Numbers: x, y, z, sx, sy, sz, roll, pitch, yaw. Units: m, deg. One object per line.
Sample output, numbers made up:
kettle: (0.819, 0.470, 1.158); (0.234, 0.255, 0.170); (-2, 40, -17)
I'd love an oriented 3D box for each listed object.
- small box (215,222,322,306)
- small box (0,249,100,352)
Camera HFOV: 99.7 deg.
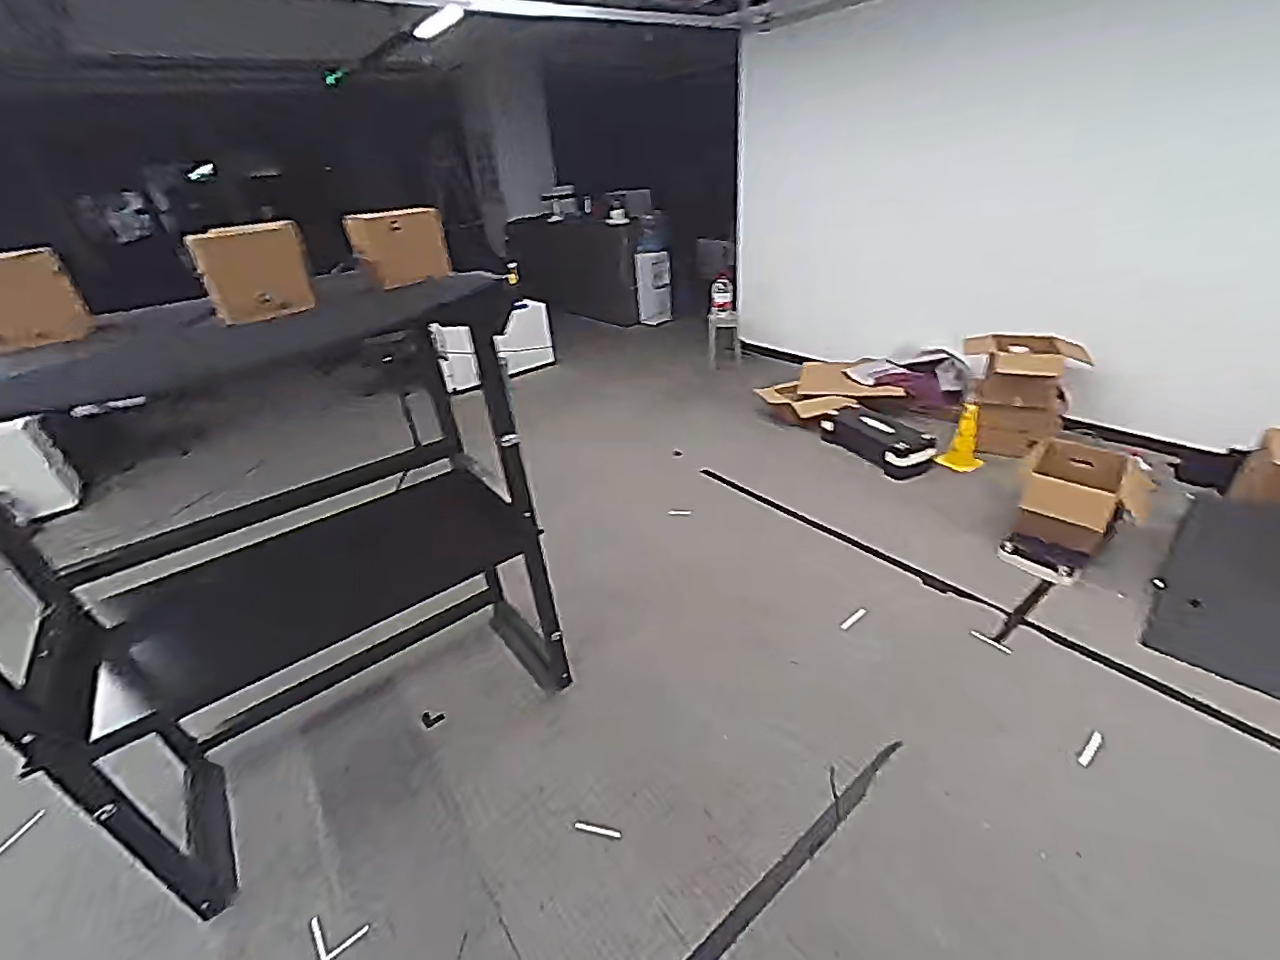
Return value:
small box: (-0.916, -0.535, 1.337); (0.168, 0.176, 0.179); (-25, 35, -29)
small box: (-1.265, -0.369, 1.111); (0.168, 0.176, 0.179); (-24, 35, -30)
